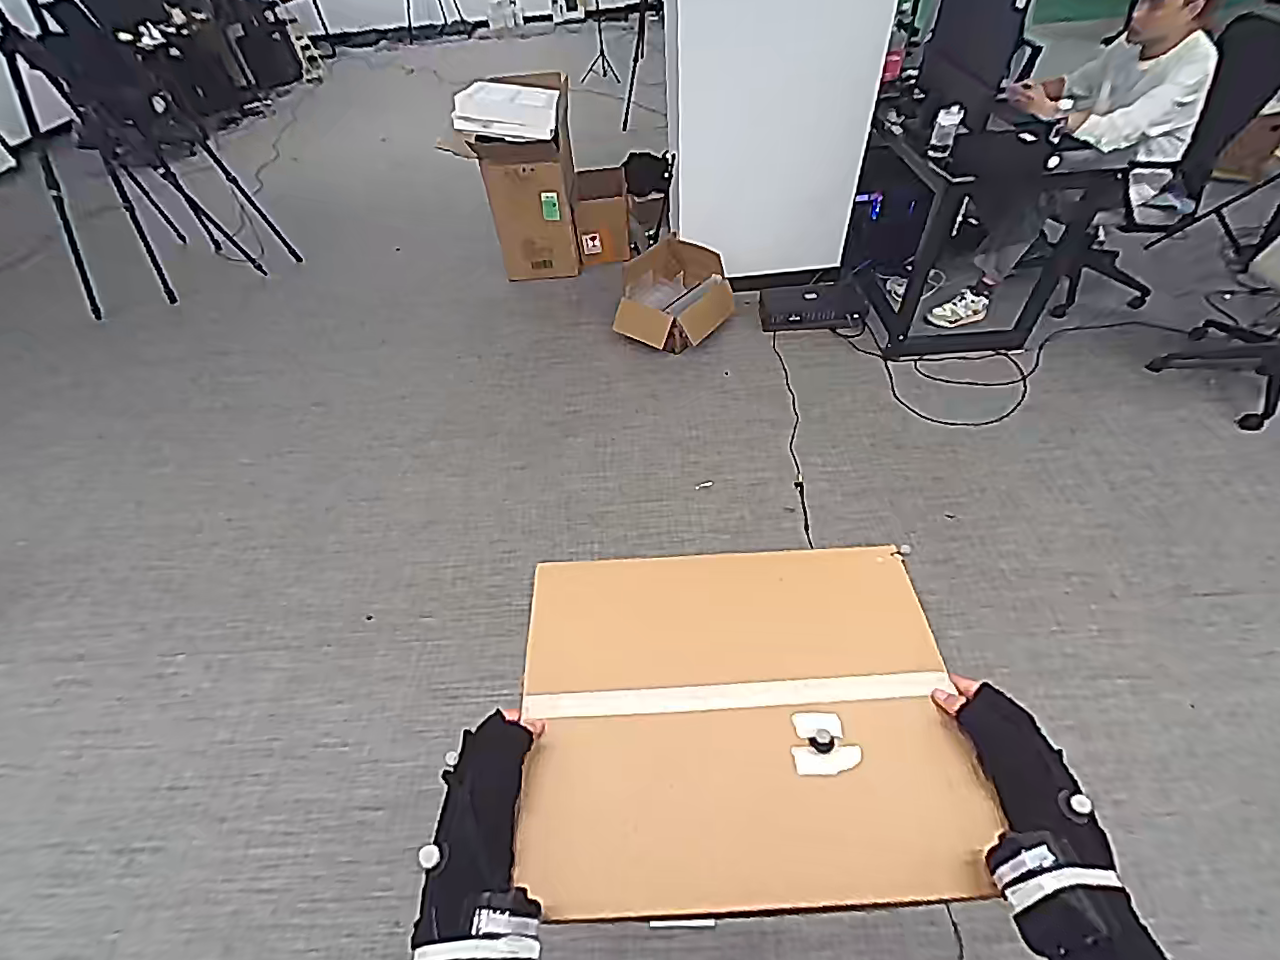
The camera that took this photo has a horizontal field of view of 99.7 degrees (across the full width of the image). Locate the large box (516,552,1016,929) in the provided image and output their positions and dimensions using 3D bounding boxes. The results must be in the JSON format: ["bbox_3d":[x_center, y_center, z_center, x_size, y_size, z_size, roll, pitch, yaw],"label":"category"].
[{"bbox_3d":[0.095,0.306,0.628,0.408,0.320,0.320,-3,50,-1],"label":"large box"}]
